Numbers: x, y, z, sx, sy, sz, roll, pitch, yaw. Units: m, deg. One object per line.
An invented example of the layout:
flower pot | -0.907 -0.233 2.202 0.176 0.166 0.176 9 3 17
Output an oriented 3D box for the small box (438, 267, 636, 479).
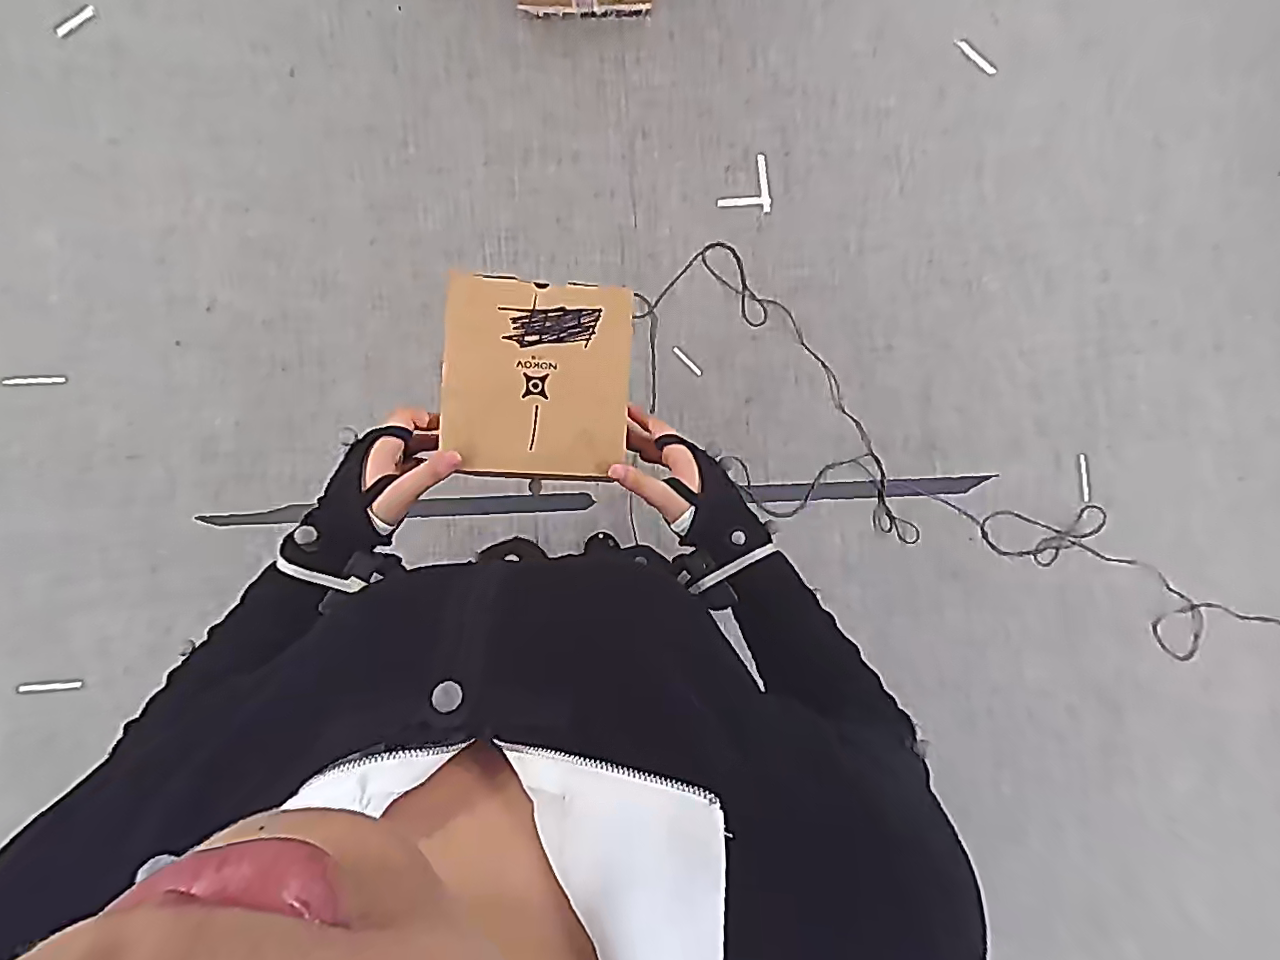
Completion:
small box | -0.099 -0.094 0.556 0.168 0.176 0.179 2 89 -6
